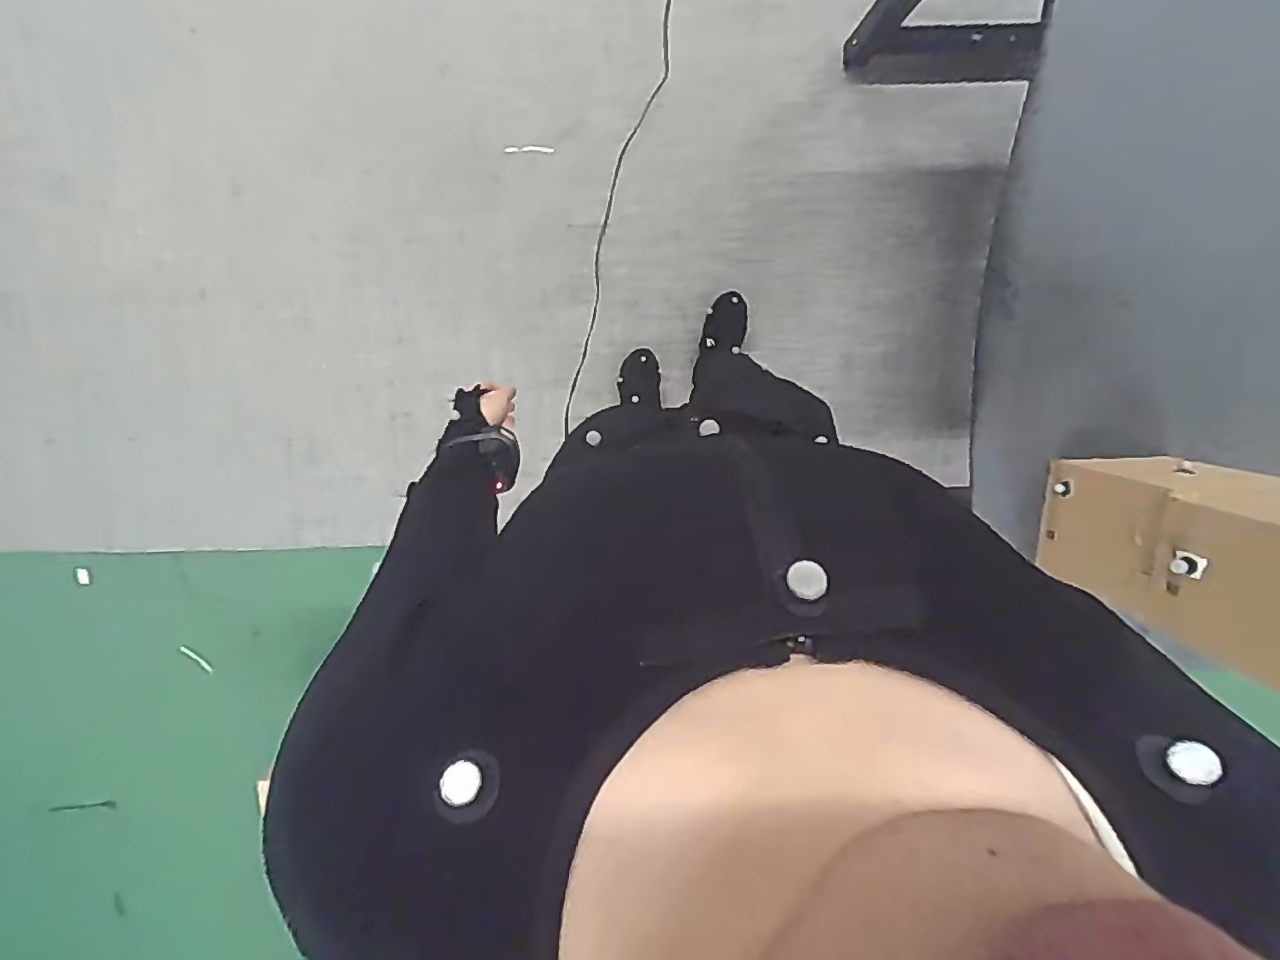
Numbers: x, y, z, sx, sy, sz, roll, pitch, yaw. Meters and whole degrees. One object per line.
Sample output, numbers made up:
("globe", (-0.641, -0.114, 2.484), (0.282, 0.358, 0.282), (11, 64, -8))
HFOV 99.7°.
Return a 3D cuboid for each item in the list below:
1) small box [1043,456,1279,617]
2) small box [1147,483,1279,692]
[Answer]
("small box", (0.669, 0.065, 0.697), (0.179, 0.176, 0.168), (-2, 103, -5))
("small box", (0.676, 0.102, 0.539), (0.179, 0.176, 0.168), (-5, 102, -2))
